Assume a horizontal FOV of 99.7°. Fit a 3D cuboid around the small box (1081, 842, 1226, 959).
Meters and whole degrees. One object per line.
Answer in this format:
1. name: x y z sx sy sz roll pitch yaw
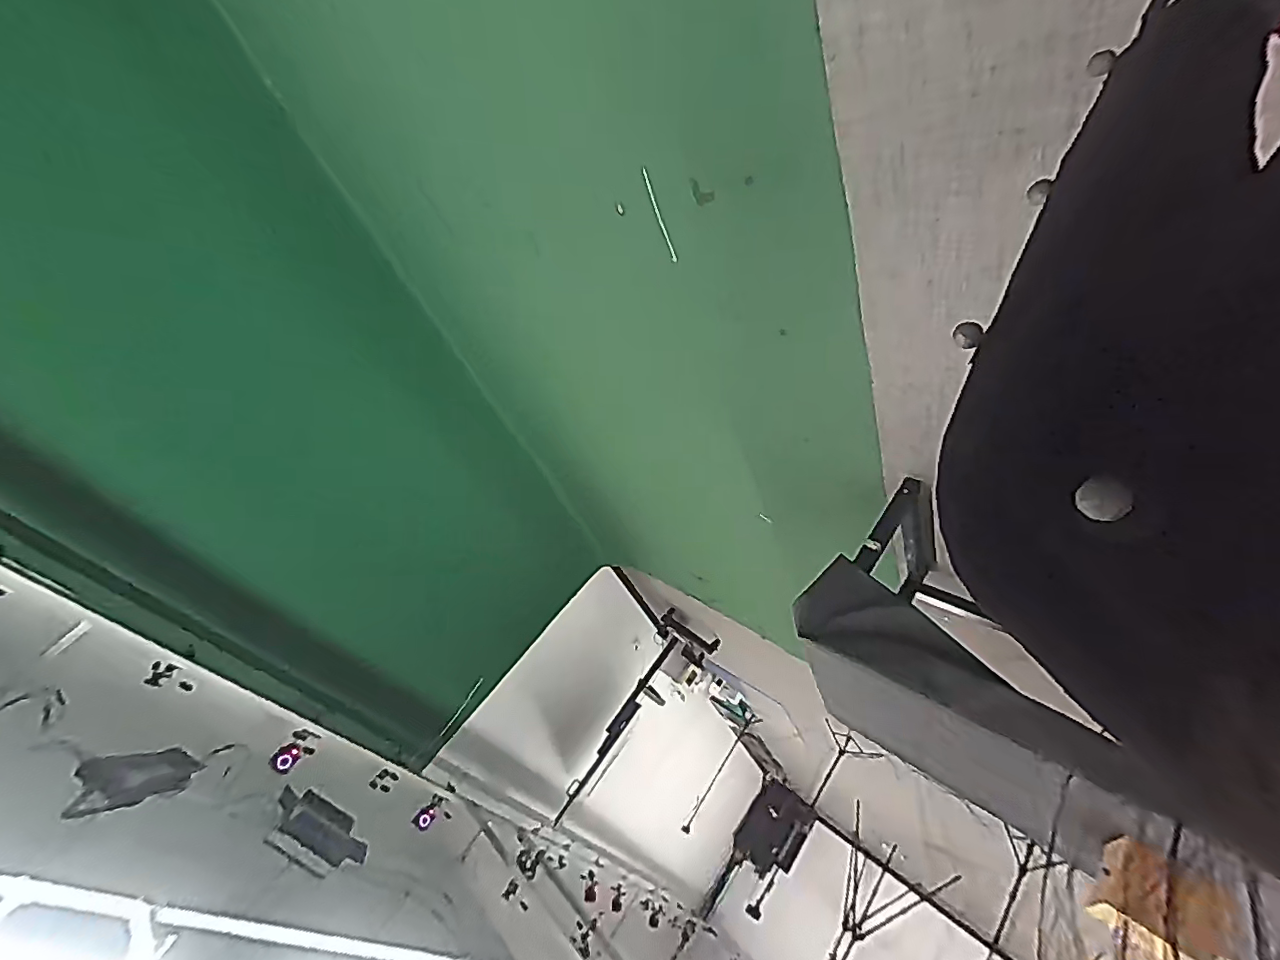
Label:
1. small box: 1.130 0.939 1.197 0.179 0.176 0.168 24 152 36
